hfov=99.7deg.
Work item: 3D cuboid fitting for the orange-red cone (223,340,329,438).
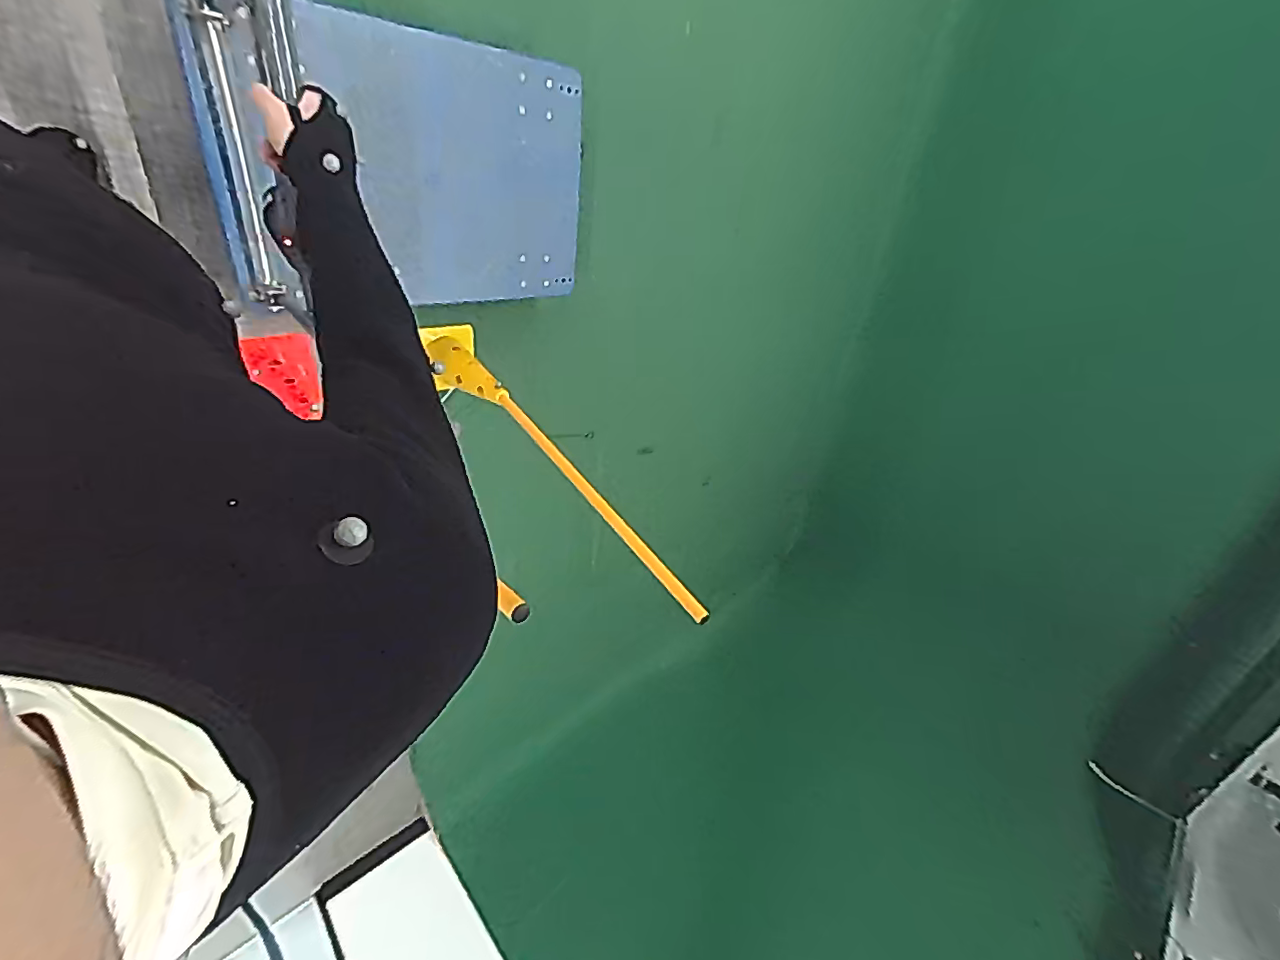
[{"bbox_3d":[-0.812,-0.183,1.277,0.199,0.360,0.198,-21,130,-40],"label":"orange-red cone"}]
